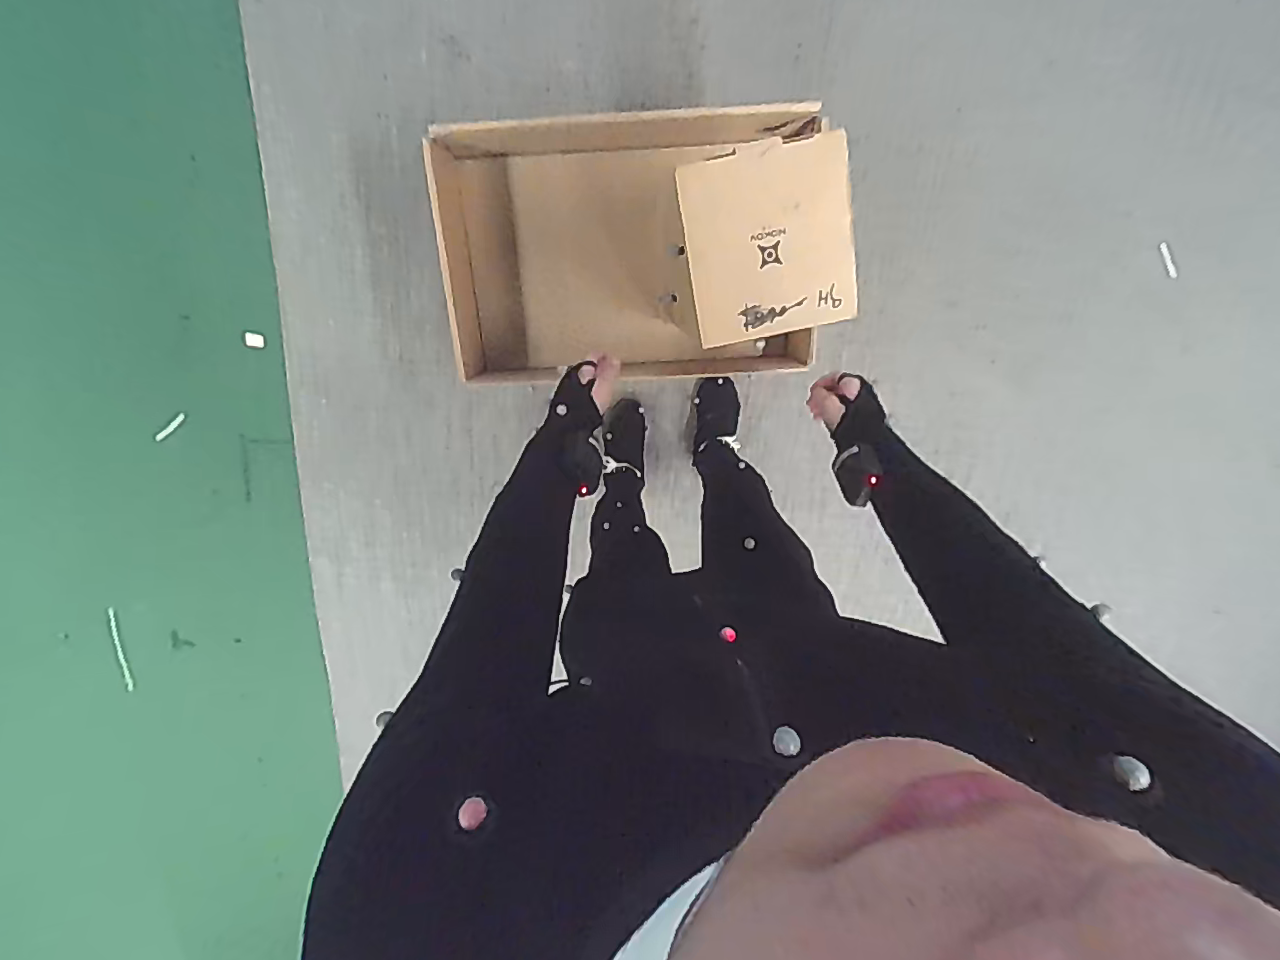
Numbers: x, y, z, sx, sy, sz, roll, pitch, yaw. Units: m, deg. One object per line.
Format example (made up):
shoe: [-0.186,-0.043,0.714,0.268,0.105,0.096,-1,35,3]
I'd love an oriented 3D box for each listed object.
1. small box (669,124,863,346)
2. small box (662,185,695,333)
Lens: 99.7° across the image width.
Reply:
small box: [0.128,-0.255,0.595,0.168,0.176,0.179,-10,109,4]
small box: [0.124,-0.311,0.749,0.168,0.176,0.179,-9,109,2]
